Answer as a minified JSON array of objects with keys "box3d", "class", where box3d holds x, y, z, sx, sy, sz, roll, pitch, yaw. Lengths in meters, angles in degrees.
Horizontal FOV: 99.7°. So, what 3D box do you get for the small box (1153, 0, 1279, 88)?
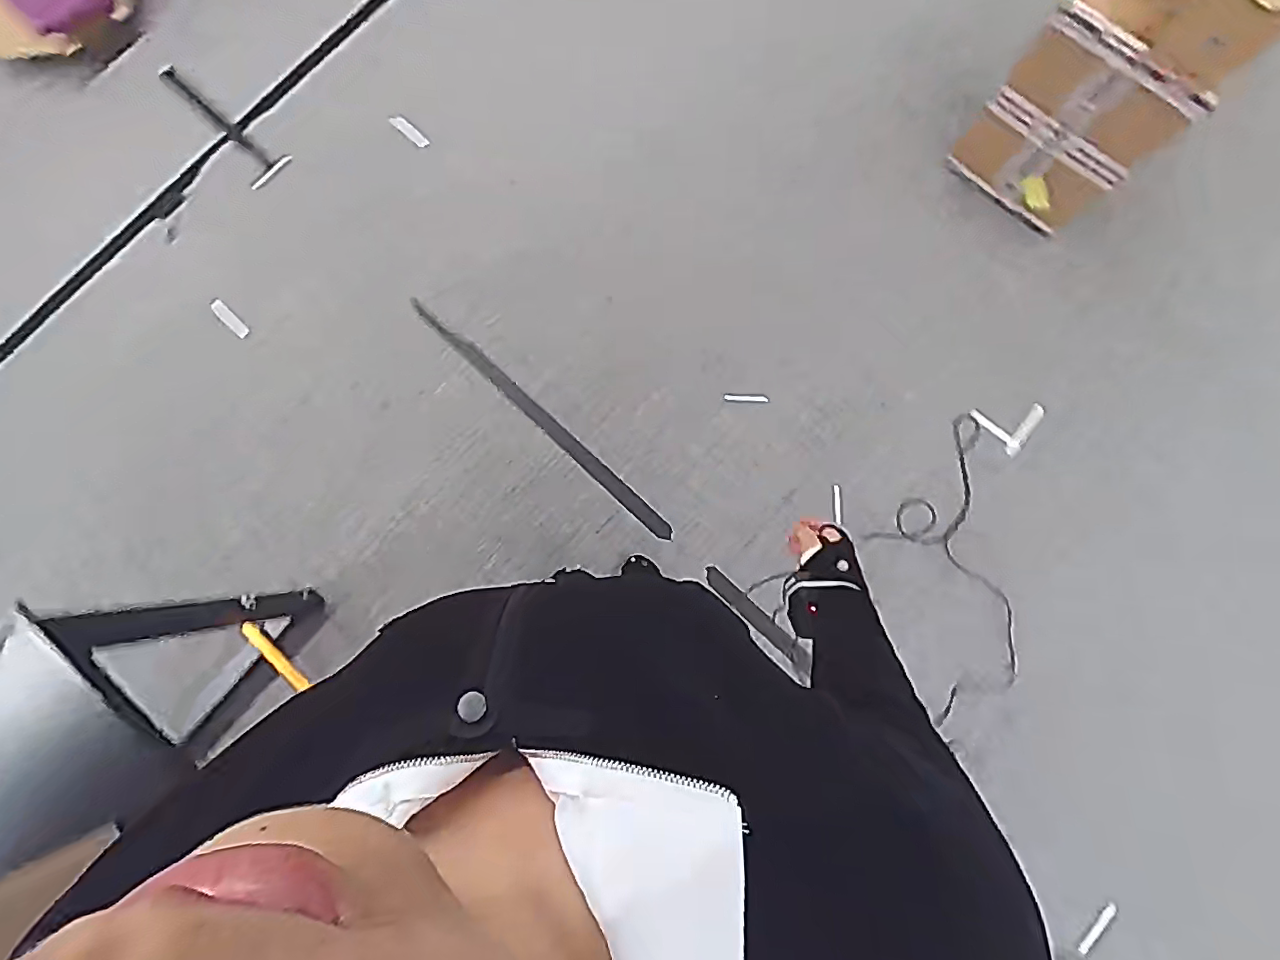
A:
[{"box3d":[1.201,-0.949,1.084,0.168,0.176,0.179,42,87,5],"class":"small box"}]
